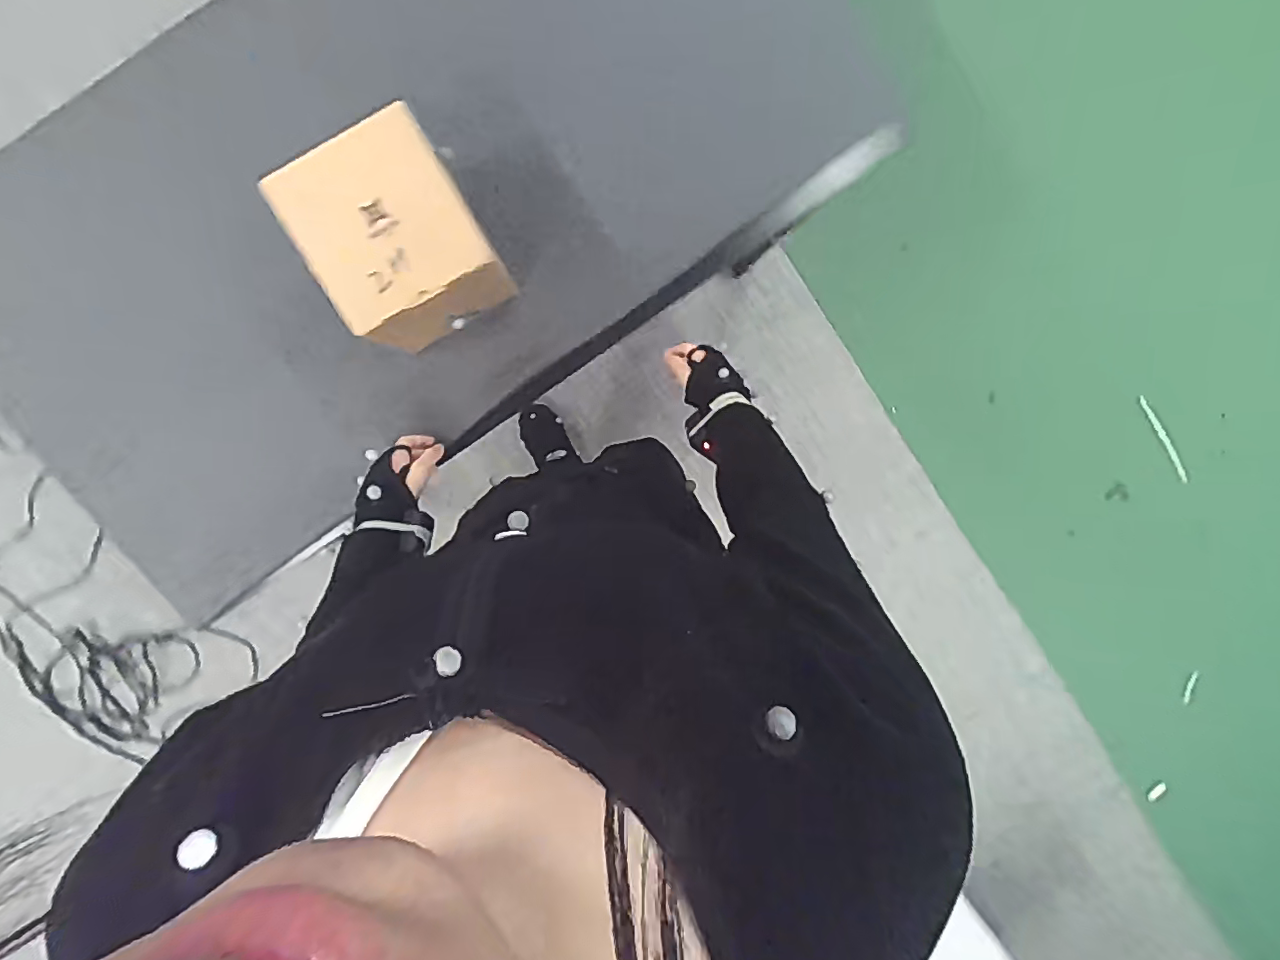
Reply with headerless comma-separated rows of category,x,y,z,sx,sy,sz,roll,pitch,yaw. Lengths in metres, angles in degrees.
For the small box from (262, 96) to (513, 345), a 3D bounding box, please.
small box,-0.269,-0.276,0.622,0.168,0.176,0.179,-31,99,1
